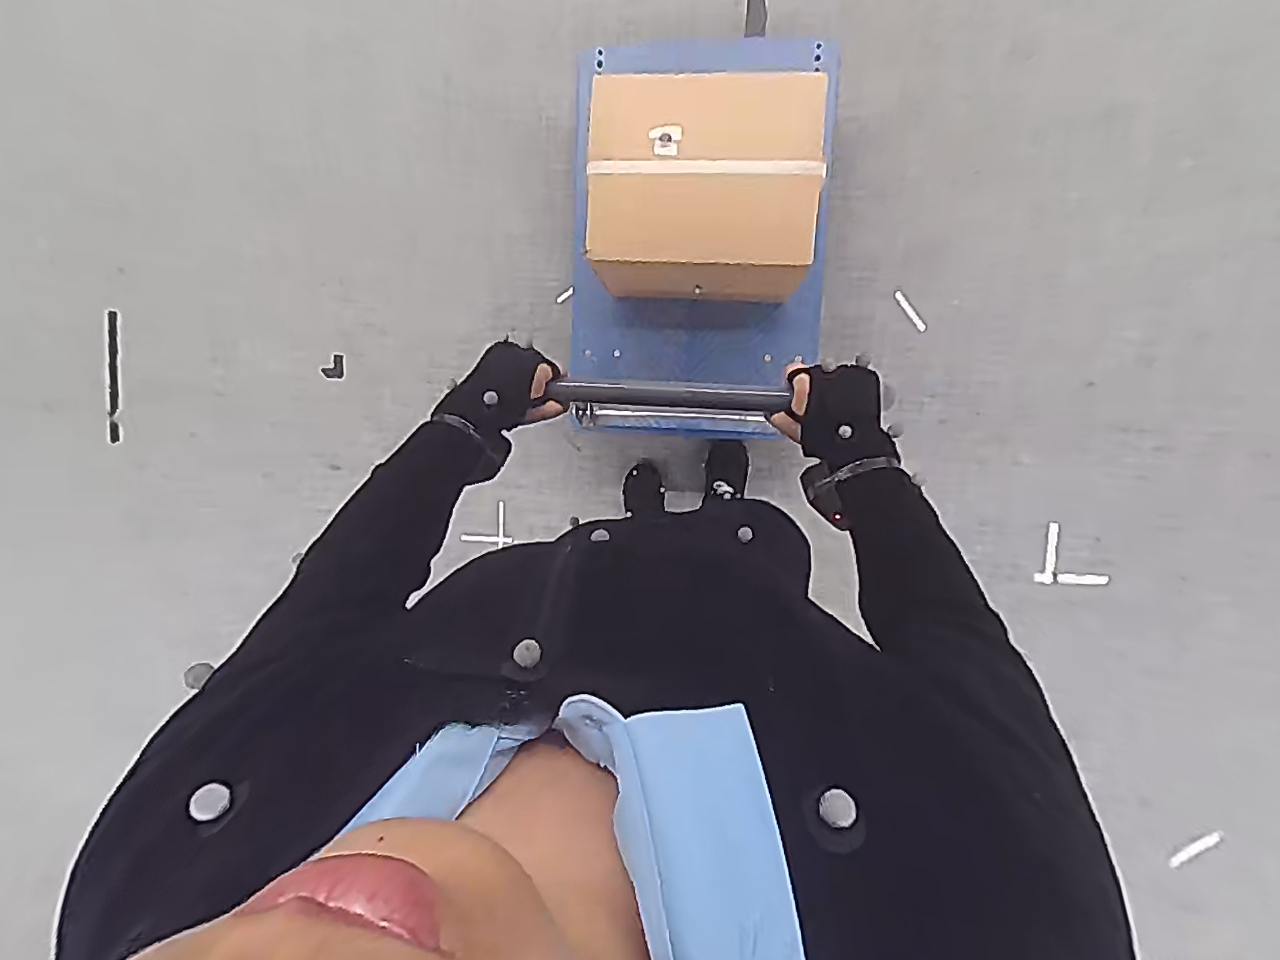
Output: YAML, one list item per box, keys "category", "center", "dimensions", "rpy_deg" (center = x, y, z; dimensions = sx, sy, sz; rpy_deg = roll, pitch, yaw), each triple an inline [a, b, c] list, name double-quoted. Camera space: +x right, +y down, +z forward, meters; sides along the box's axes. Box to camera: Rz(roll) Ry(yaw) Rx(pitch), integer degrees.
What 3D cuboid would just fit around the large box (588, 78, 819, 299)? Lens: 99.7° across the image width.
- category: "large box"
  center: [0.127, -0.561, 1.108]
  dimensions: [0.408, 0.320, 0.320]
  rpy_deg: [4, 96, 7]
